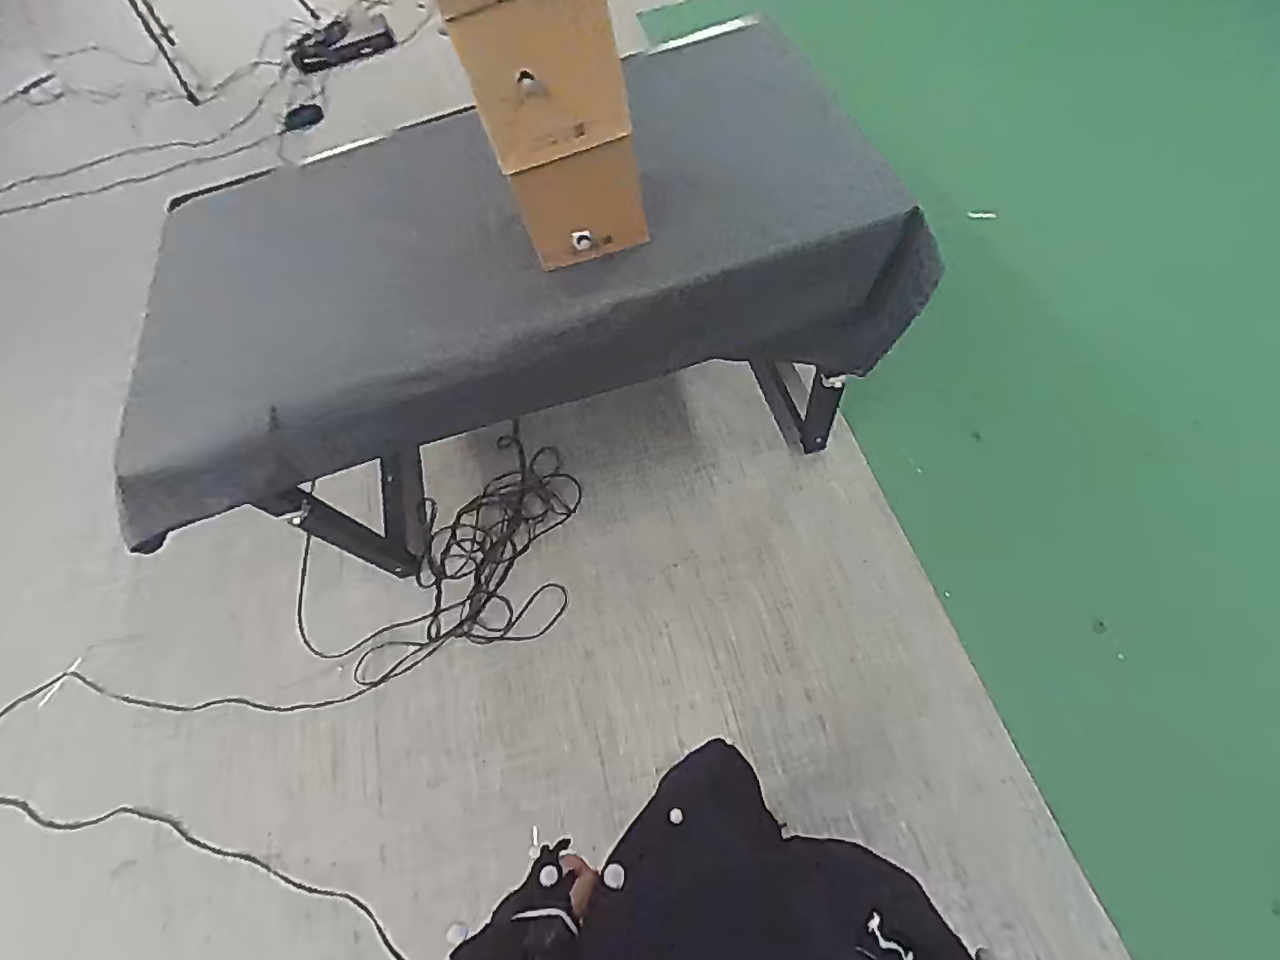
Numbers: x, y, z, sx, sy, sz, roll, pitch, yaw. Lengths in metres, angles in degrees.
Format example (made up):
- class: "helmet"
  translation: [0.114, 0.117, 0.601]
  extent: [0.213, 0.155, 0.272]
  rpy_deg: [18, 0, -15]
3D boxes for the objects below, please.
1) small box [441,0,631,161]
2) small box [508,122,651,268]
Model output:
- class: "small box"
  translation: [-0.118, -0.507, 0.631]
  extent: [0.168, 0.176, 0.179]
  rpy_deg: [-18, 62, 2]
- class: "small box"
  translation: [-0.090, -0.444, 0.778]
  extent: [0.168, 0.176, 0.179]
  rpy_deg: [-17, 63, 3]
